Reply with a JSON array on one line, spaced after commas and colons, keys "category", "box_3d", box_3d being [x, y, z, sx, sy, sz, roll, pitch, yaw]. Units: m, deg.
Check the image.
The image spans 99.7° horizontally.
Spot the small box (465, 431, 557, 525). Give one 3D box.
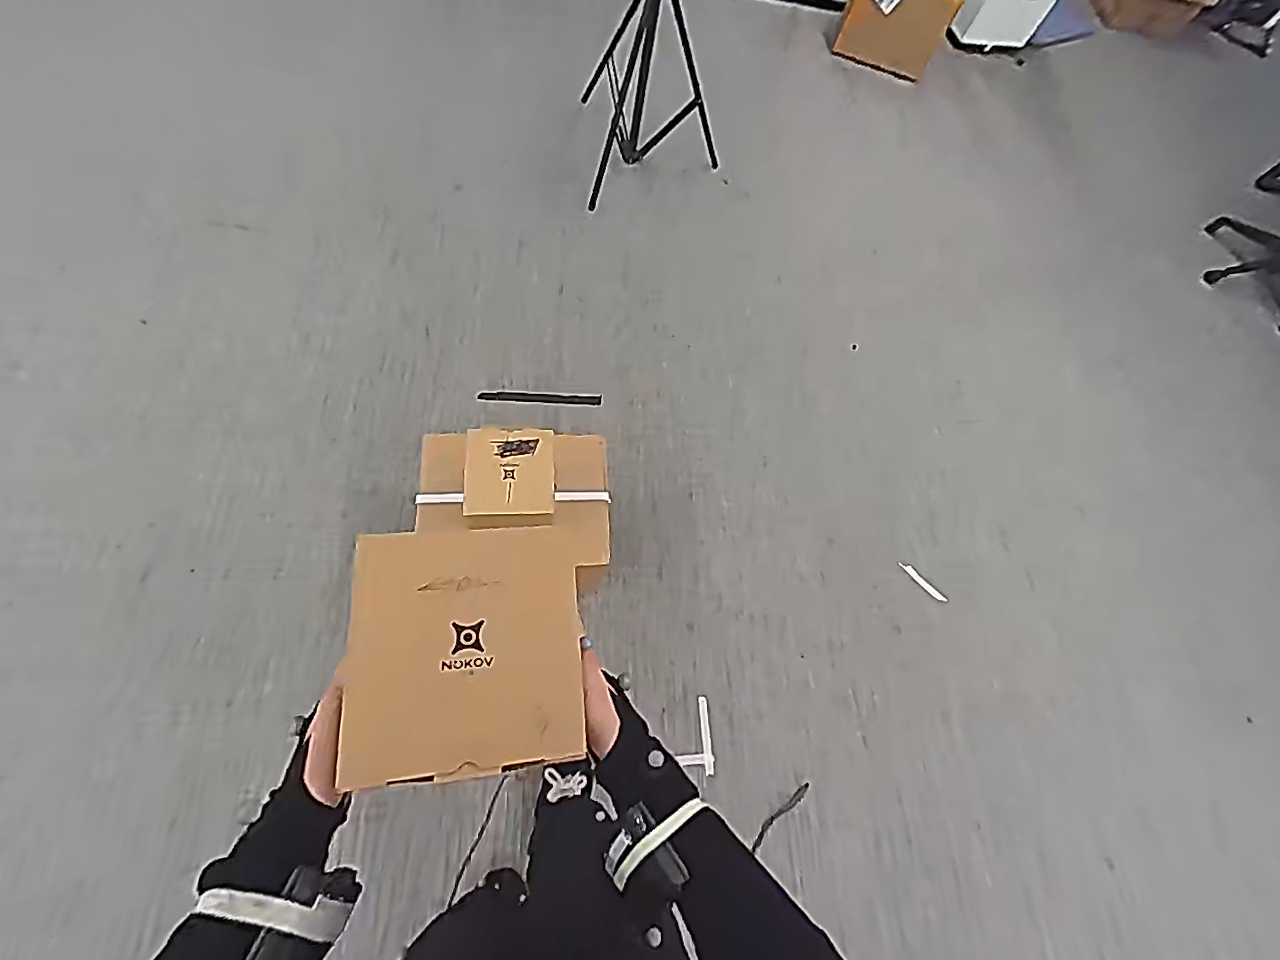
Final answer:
[{"category": "small box", "box_3d": [-0.253, 0.018, 1.084, 0.168, 0.176, 0.179, -1, 68, -10]}]

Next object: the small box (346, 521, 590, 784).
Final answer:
[{"category": "small box", "box_3d": [-0.139, 0.147, 0.472, 0.168, 0.176, 0.179, -2, 67, -15]}]
